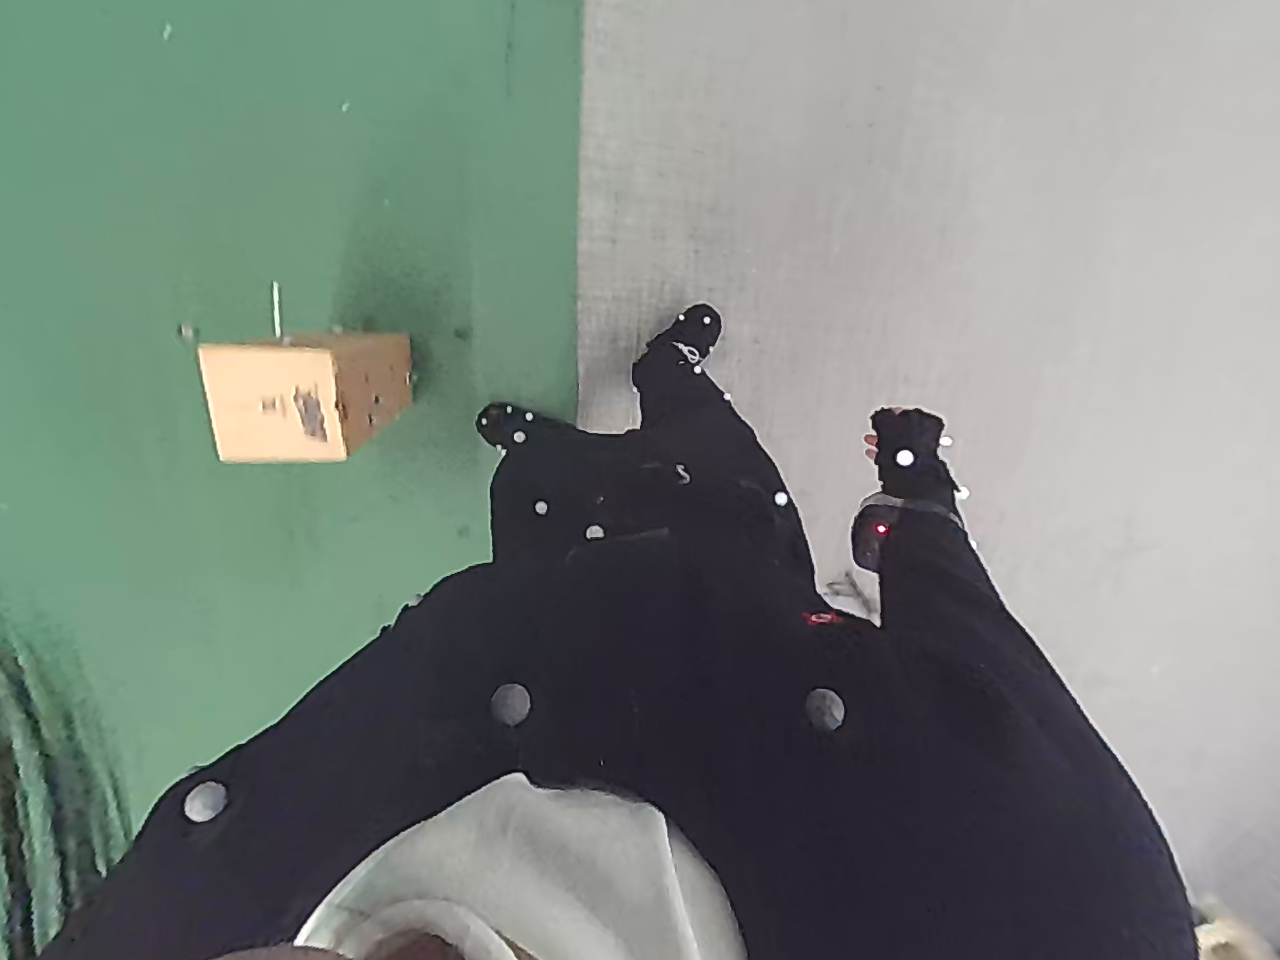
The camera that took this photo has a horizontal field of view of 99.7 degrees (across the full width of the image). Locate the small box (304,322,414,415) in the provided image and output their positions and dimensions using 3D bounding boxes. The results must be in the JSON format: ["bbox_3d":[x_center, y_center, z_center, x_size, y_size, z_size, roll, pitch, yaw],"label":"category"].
[{"bbox_3d":[-0.593,-0.242,1.151,0.179,0.176,0.168,1,110,-12],"label":"small box"}]

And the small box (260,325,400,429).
[{"bbox_3d":[-0.569,-0.198,1.014,0.179,0.176,0.168,1,109,-10],"label":"small box"}]

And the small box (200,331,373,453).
[{"bbox_3d":[-0.542,-0.145,0.861,0.179,0.176,0.168,-1,109,-10],"label":"small box"}]
